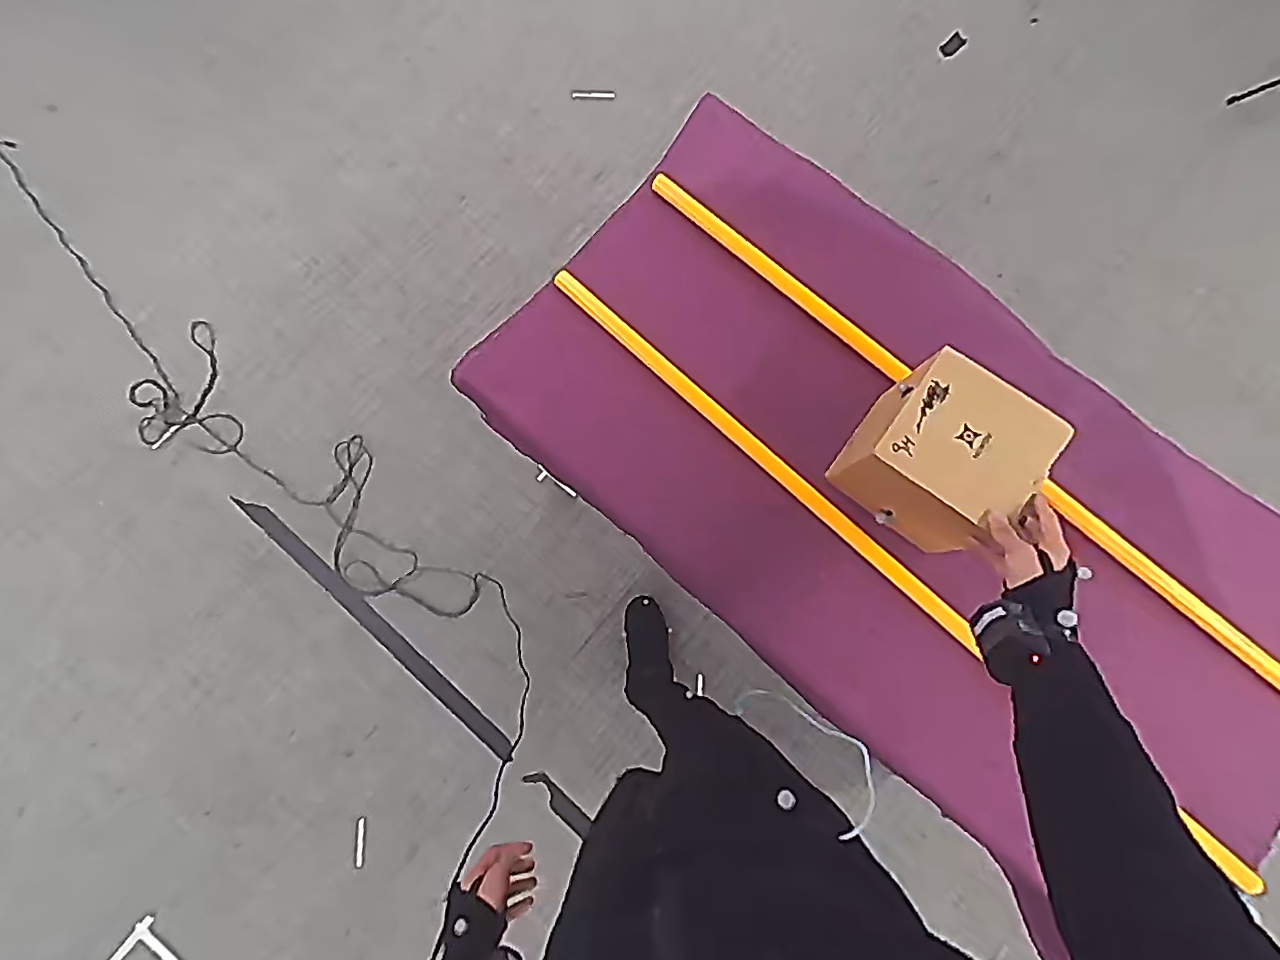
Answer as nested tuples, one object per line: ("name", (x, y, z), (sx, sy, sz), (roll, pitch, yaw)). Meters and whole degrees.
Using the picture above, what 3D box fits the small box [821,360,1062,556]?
("small box", (0.372, -0.018, 0.701), (0.179, 0.176, 0.168), (37, 82, 5))
